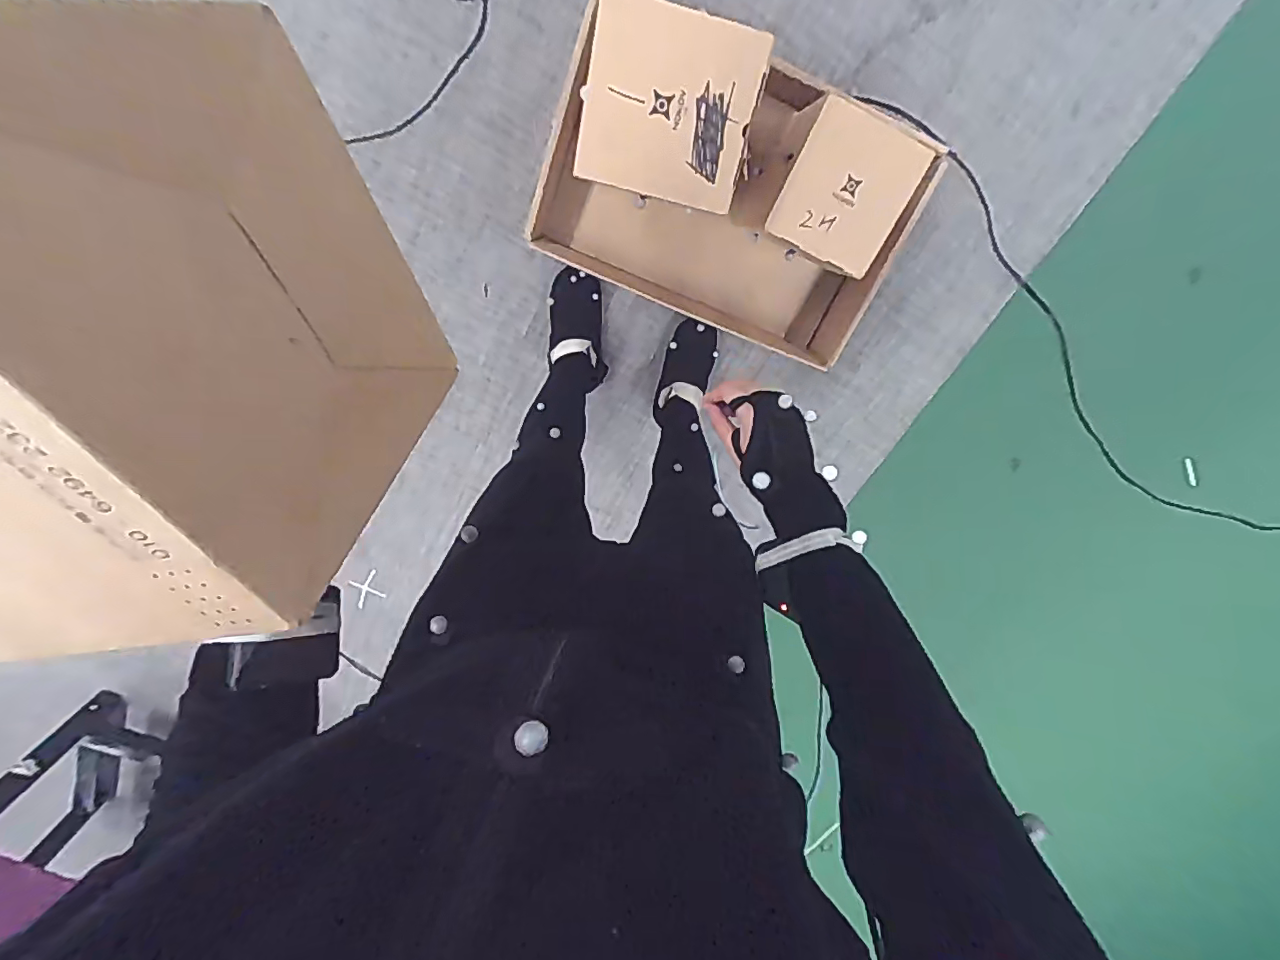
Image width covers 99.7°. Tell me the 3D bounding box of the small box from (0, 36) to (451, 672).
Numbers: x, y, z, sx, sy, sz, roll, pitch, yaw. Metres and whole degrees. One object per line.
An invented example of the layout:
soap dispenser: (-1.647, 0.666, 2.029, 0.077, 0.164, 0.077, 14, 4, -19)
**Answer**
small box: (-0.209, -0.047, 0.216, 0.176, 0.179, 0.168, -8, 130, 14)

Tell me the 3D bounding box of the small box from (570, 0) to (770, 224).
small box: (0.026, -0.410, 0.626, 0.179, 0.176, 0.168, 12, 117, -6)

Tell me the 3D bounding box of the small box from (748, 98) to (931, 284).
small box: (0.276, -0.418, 0.800, 0.168, 0.176, 0.179, 22, 115, -10)
